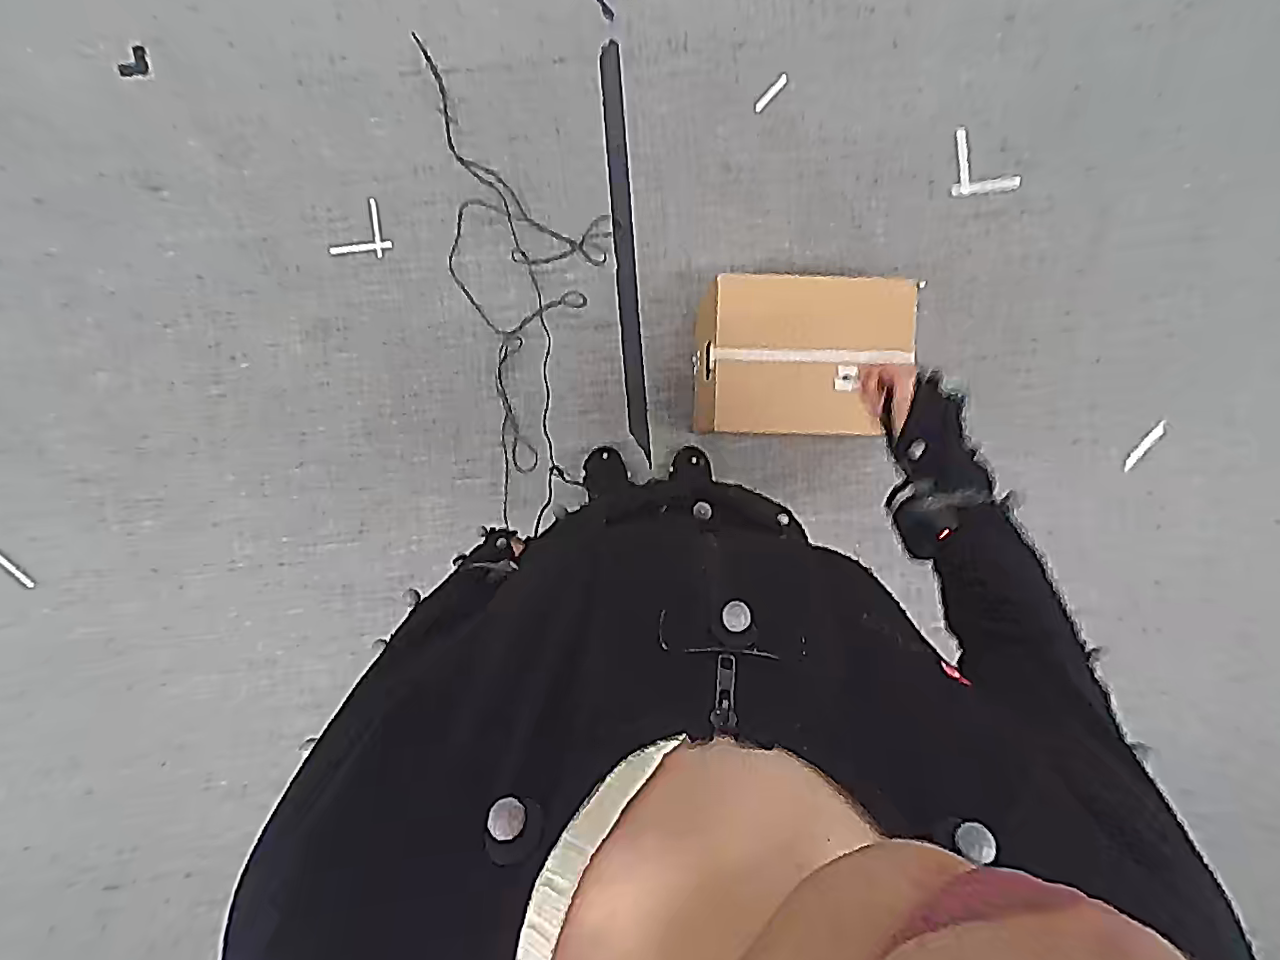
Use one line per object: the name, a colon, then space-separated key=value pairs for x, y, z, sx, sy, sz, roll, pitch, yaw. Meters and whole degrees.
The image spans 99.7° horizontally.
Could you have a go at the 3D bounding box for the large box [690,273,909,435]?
large box: x=0.333 y=-0.263 z=1.229 sx=0.408 sy=0.320 sz=0.320 roll=1 pitch=94 yaw=-3
